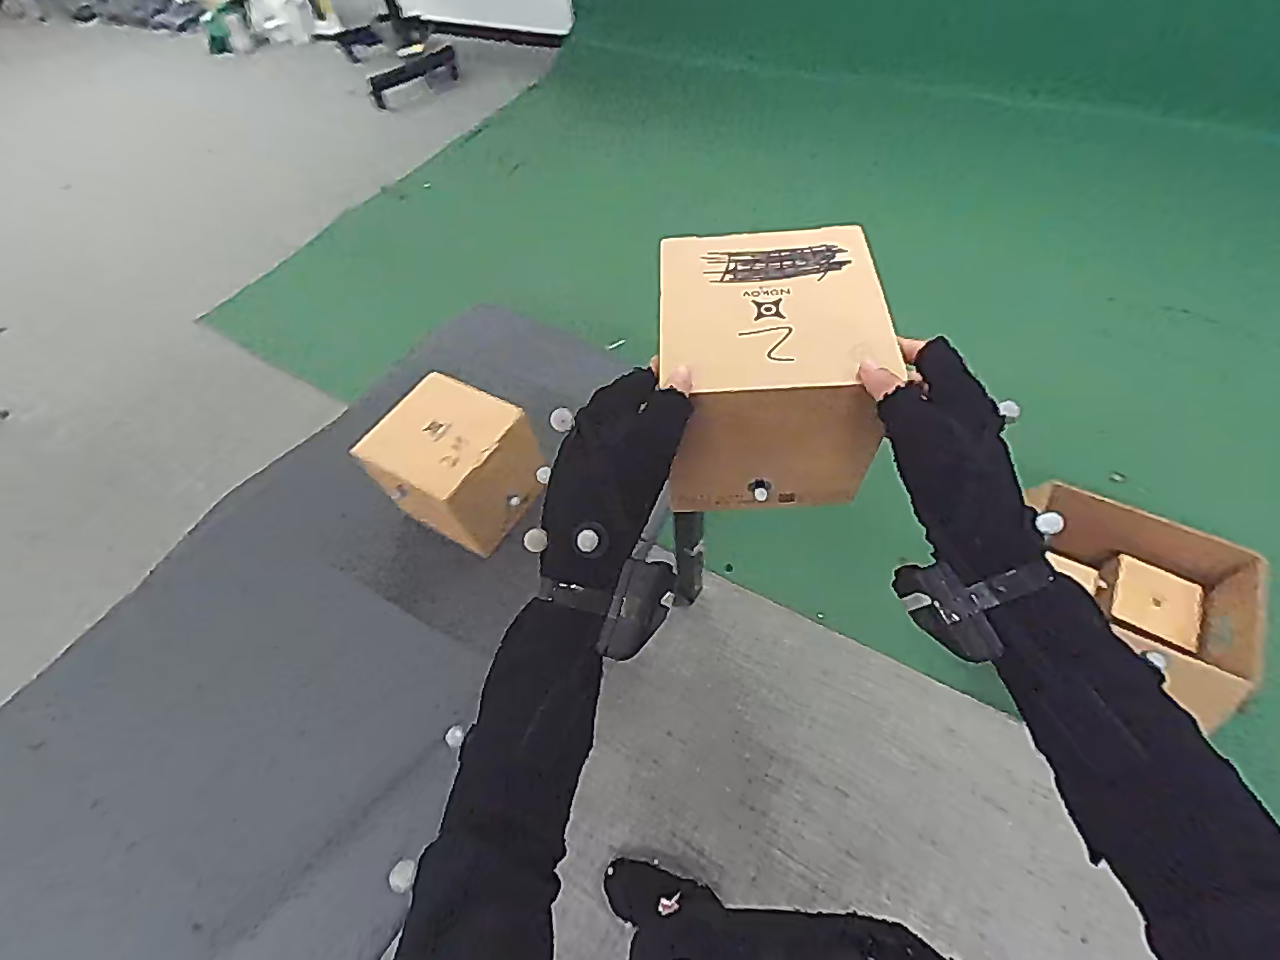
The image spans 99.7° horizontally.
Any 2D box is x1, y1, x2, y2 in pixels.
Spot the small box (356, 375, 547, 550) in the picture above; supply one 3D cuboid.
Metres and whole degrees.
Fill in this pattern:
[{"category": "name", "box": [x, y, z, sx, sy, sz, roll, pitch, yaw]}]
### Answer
[{"category": "small box", "box": [-0.266, -0.021, 0.804, 0.179, 0.176, 0.168, 24, 62, 20]}]
